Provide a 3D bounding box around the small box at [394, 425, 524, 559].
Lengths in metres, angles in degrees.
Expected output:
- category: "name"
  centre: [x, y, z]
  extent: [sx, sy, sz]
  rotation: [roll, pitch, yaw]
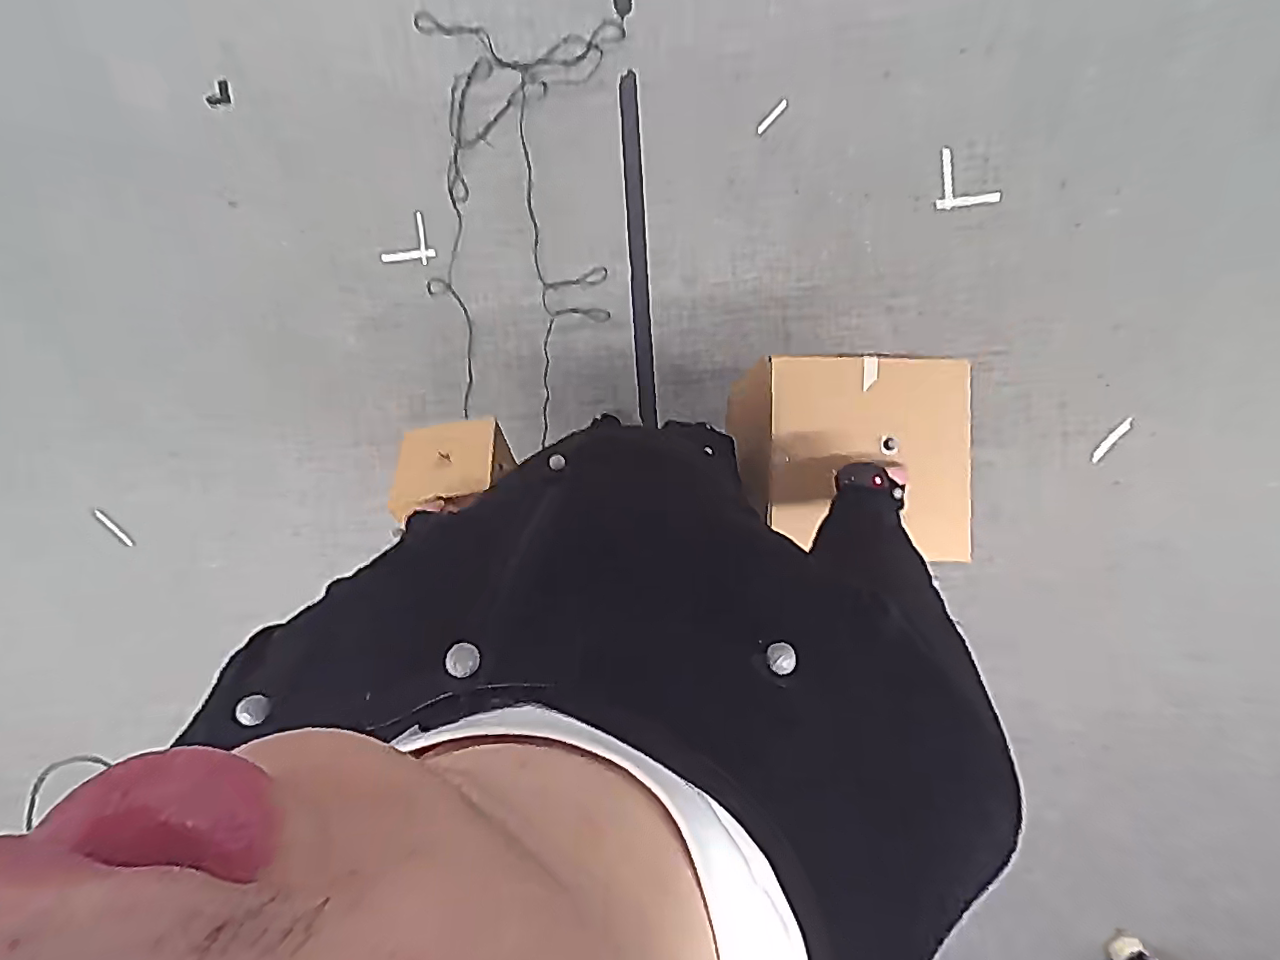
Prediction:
- category: "small box"
  centre: [-0.314, 0.029, 0.977]
  extent: [0.168, 0.179, 0.176]
  rotation: [-9, 138, 1]
